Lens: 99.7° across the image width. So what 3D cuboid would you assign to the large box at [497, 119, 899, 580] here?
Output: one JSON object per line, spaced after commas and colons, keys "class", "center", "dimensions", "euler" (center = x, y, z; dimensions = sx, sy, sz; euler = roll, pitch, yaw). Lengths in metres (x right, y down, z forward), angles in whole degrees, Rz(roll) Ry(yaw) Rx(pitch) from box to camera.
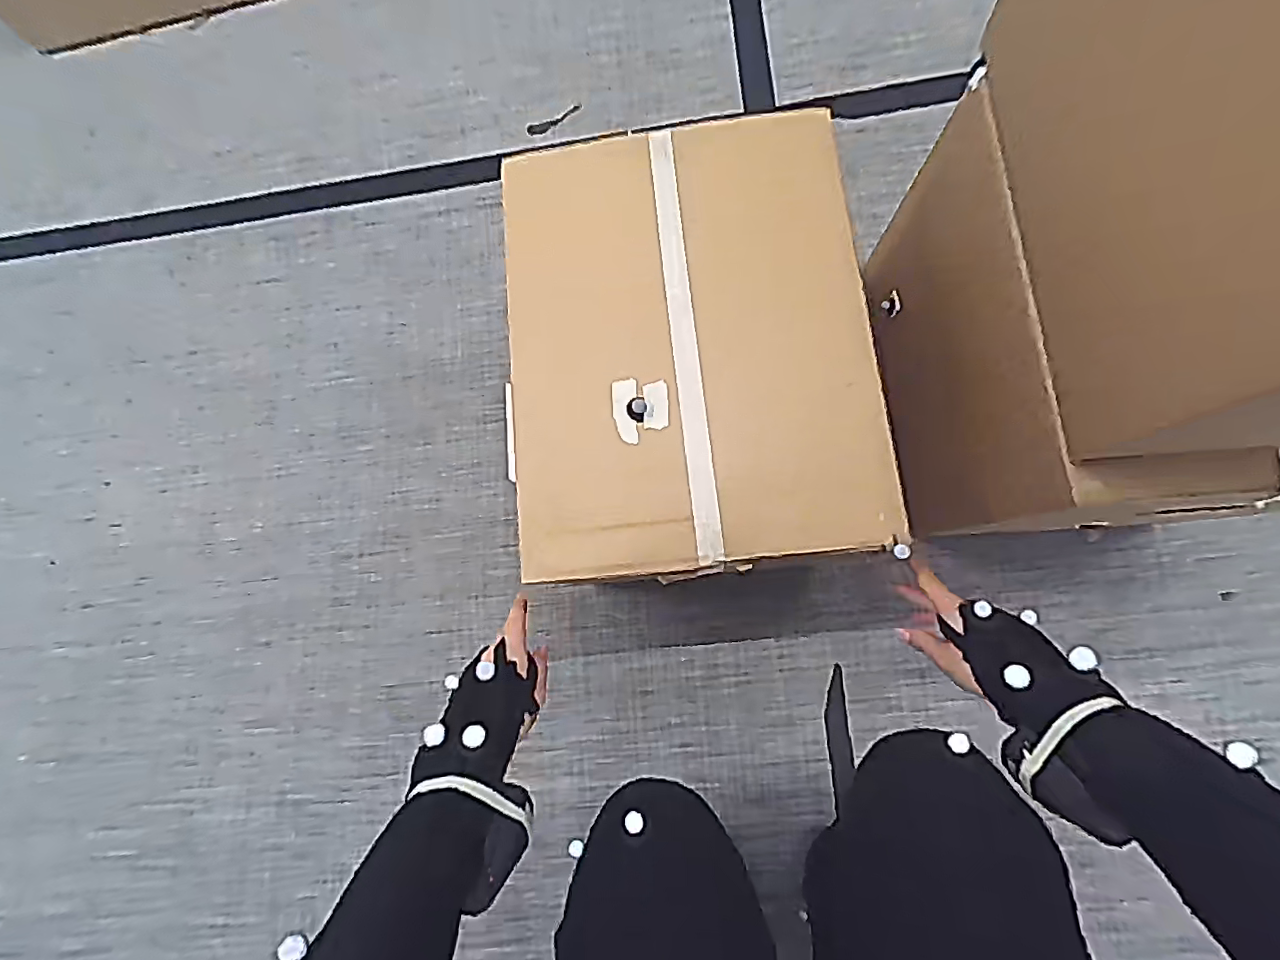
{"class": "large box", "center": [0.047, -0.105, 0.627], "dimensions": [0.320, 0.320, 0.408], "euler": [-7, 79, 5]}
